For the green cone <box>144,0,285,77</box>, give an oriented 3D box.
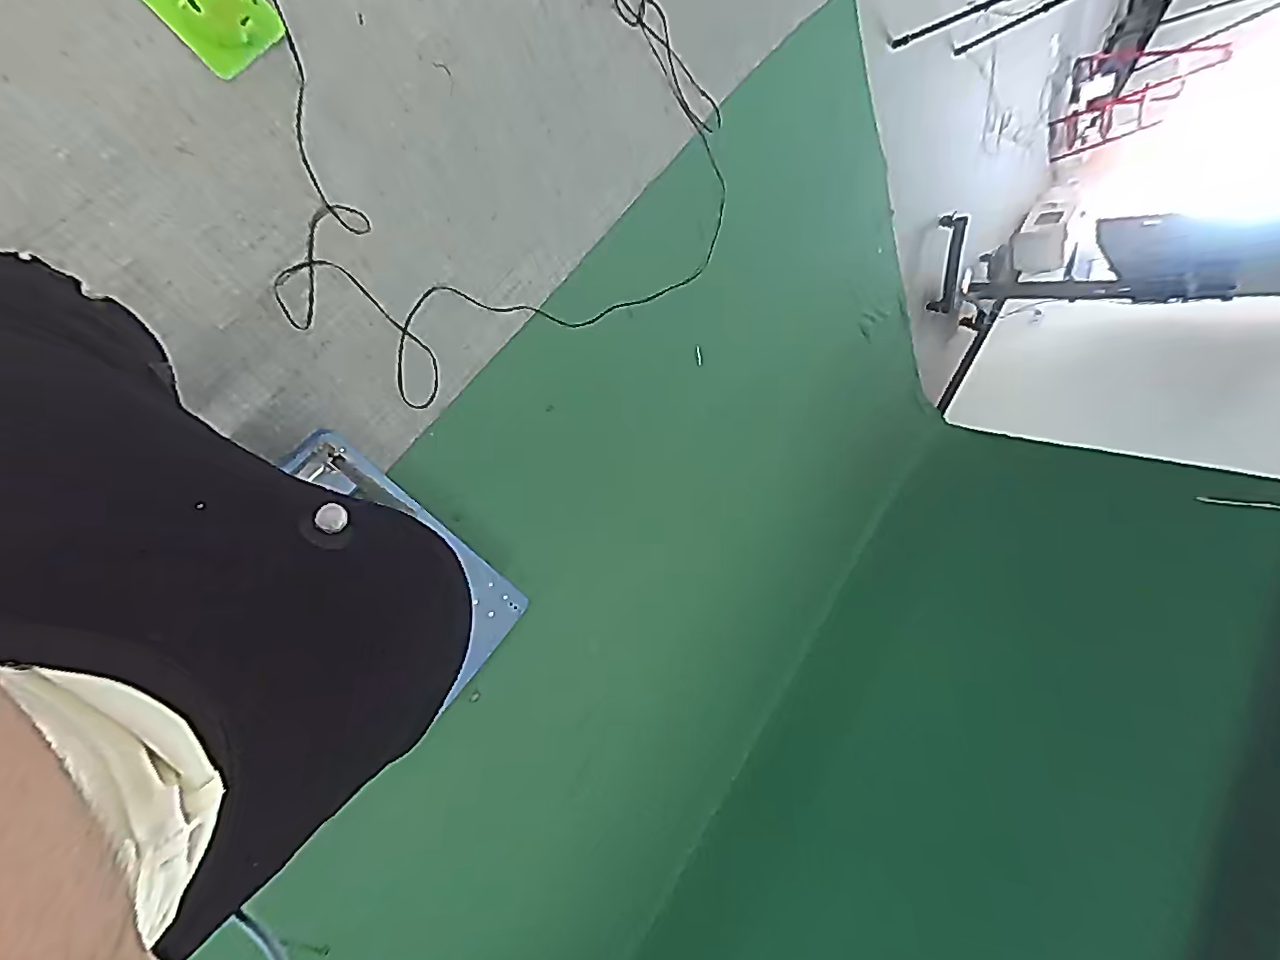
[{"bbox_3d":[-0.768,-0.946,0.997,0.202,0.368,0.200,-57,134,-14],"label":"green cone"}]
